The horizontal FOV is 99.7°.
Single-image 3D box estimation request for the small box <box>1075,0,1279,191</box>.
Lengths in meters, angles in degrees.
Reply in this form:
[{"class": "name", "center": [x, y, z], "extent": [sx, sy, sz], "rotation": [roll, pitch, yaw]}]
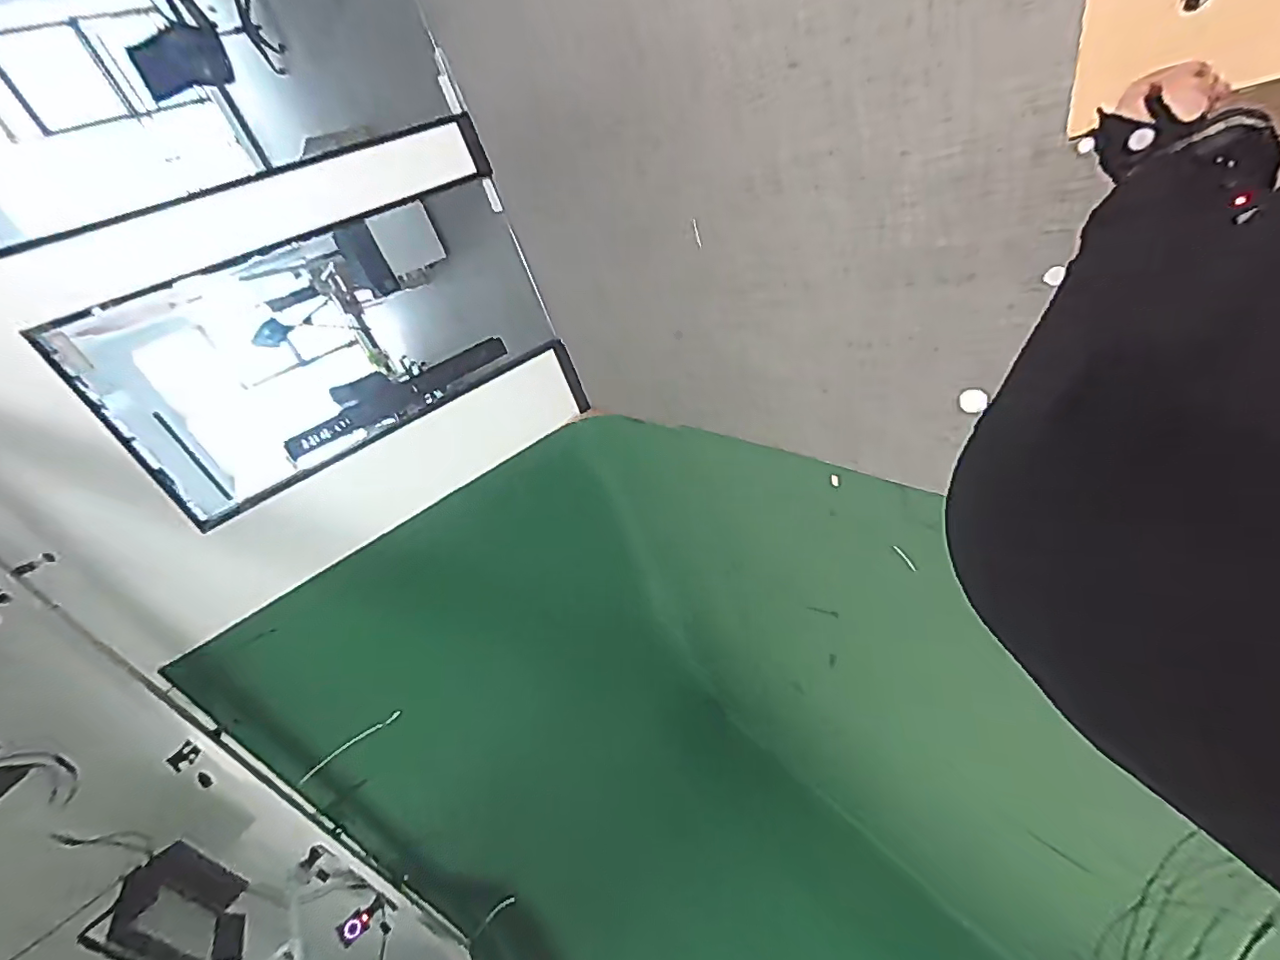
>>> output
[{"class": "small box", "center": [0.549, -0.410, 0.518], "extent": [0.168, 0.179, 0.176], "rotation": [12, 104, 51]}]
